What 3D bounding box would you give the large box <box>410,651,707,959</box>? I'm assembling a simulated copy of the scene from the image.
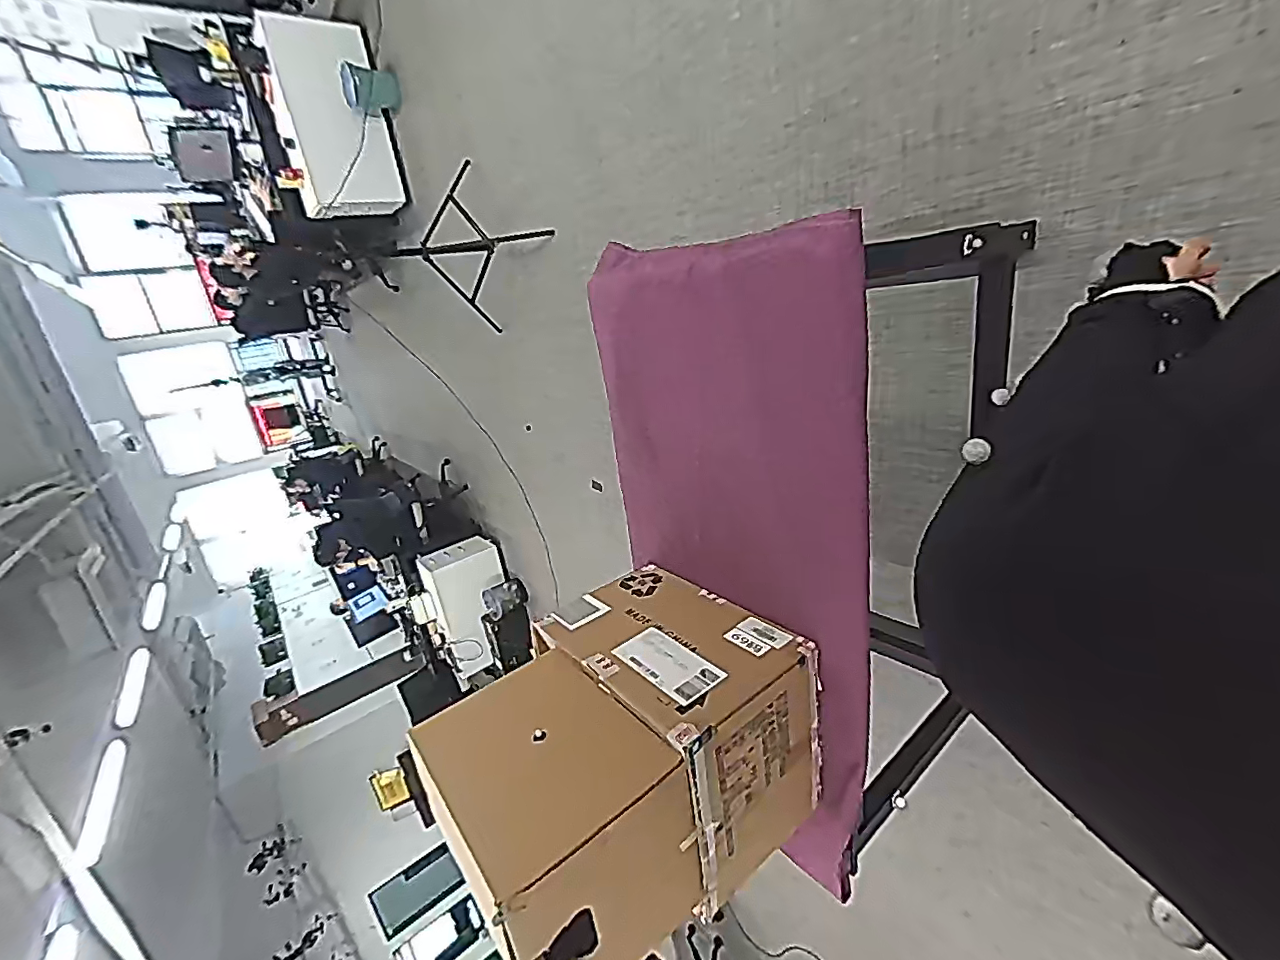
[{"bbox_3d":[-0.145,0.560,0.924,0.408,0.320,0.320,14,121,51],"label":"large box"}]
